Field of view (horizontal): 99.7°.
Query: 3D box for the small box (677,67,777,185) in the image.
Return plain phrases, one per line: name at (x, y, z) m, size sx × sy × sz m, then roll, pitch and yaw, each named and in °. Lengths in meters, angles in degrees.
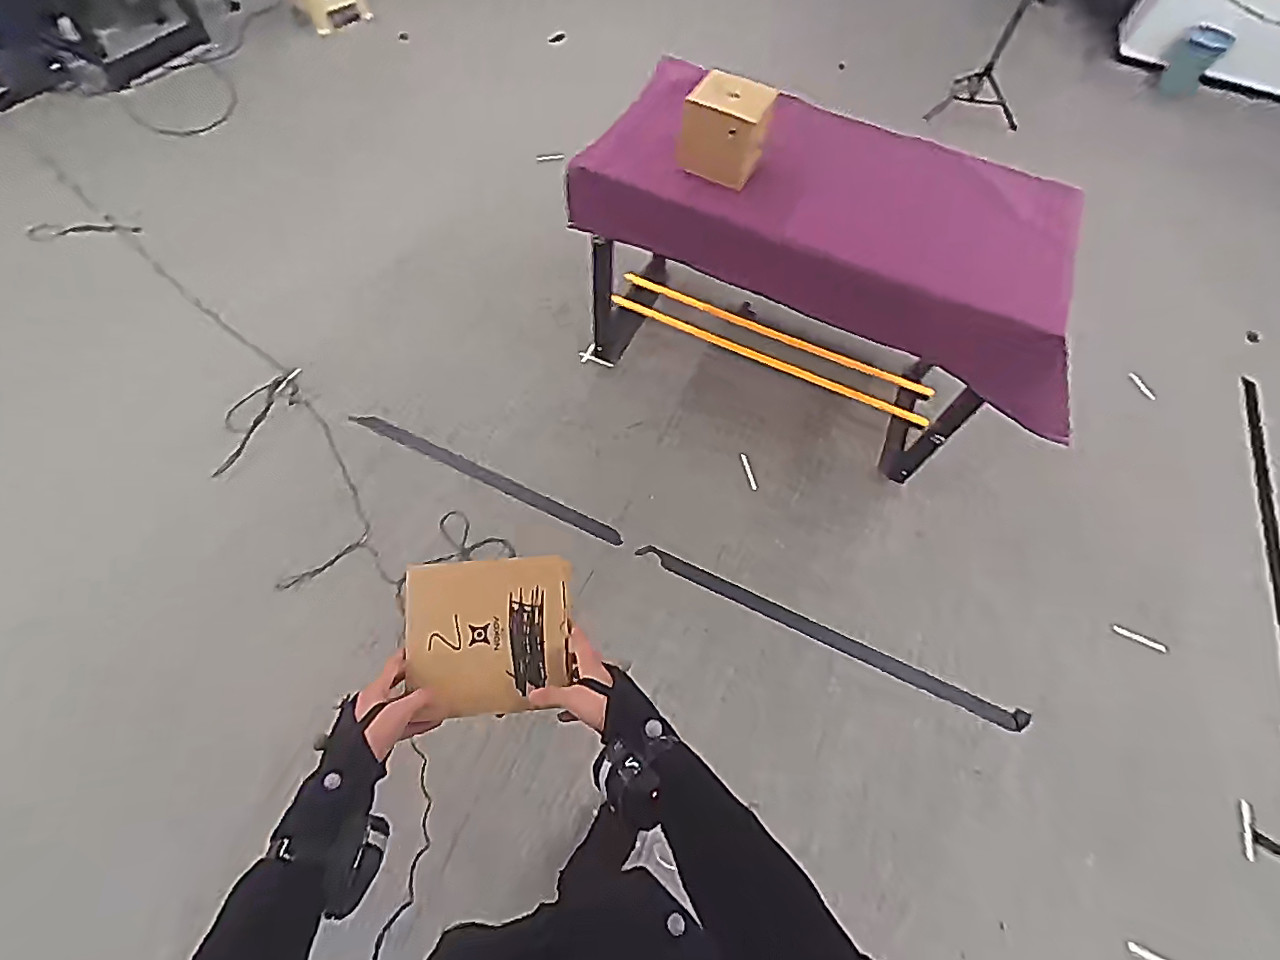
small box at (0.209, -0.866, 1.335) m, size 0.179 × 0.176 × 0.168 m, roll 26°, pitch 63°, yaw 9°
